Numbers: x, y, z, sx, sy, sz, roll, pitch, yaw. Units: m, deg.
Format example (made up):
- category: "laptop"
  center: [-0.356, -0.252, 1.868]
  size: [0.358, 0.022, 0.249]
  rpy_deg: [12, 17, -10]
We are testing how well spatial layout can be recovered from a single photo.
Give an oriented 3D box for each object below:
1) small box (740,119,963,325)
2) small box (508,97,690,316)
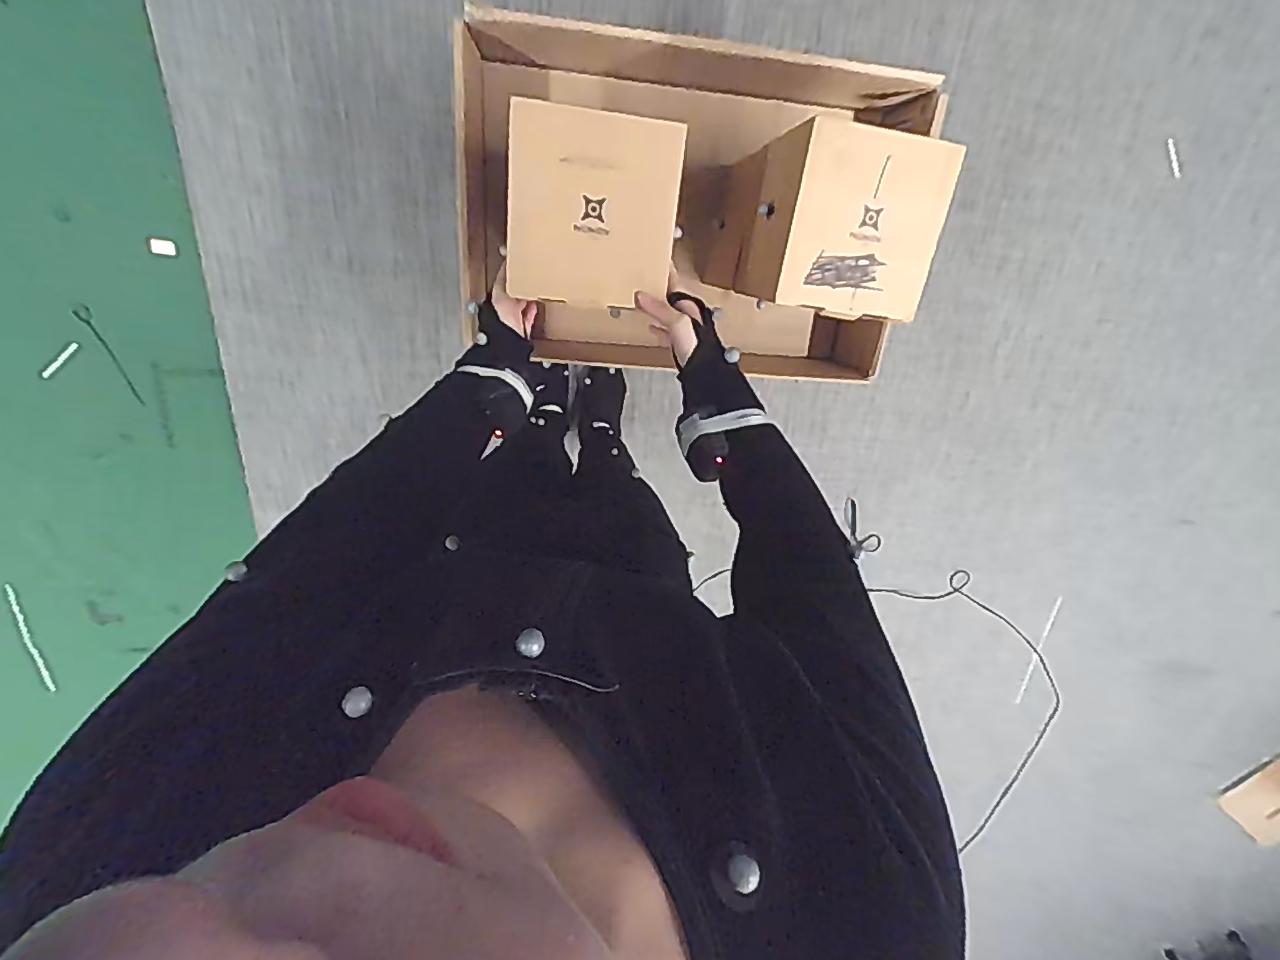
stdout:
- category: "small box"
  center: [0.228, -0.293, 0.638]
  size: [0.168, 0.176, 0.179]
  rpy_deg: [5, 111, -9]
- category: "small box"
  center: [-0.051, -0.291, 0.604]
  size: [0.168, 0.176, 0.179]
  rpy_deg: [4, 112, -9]
